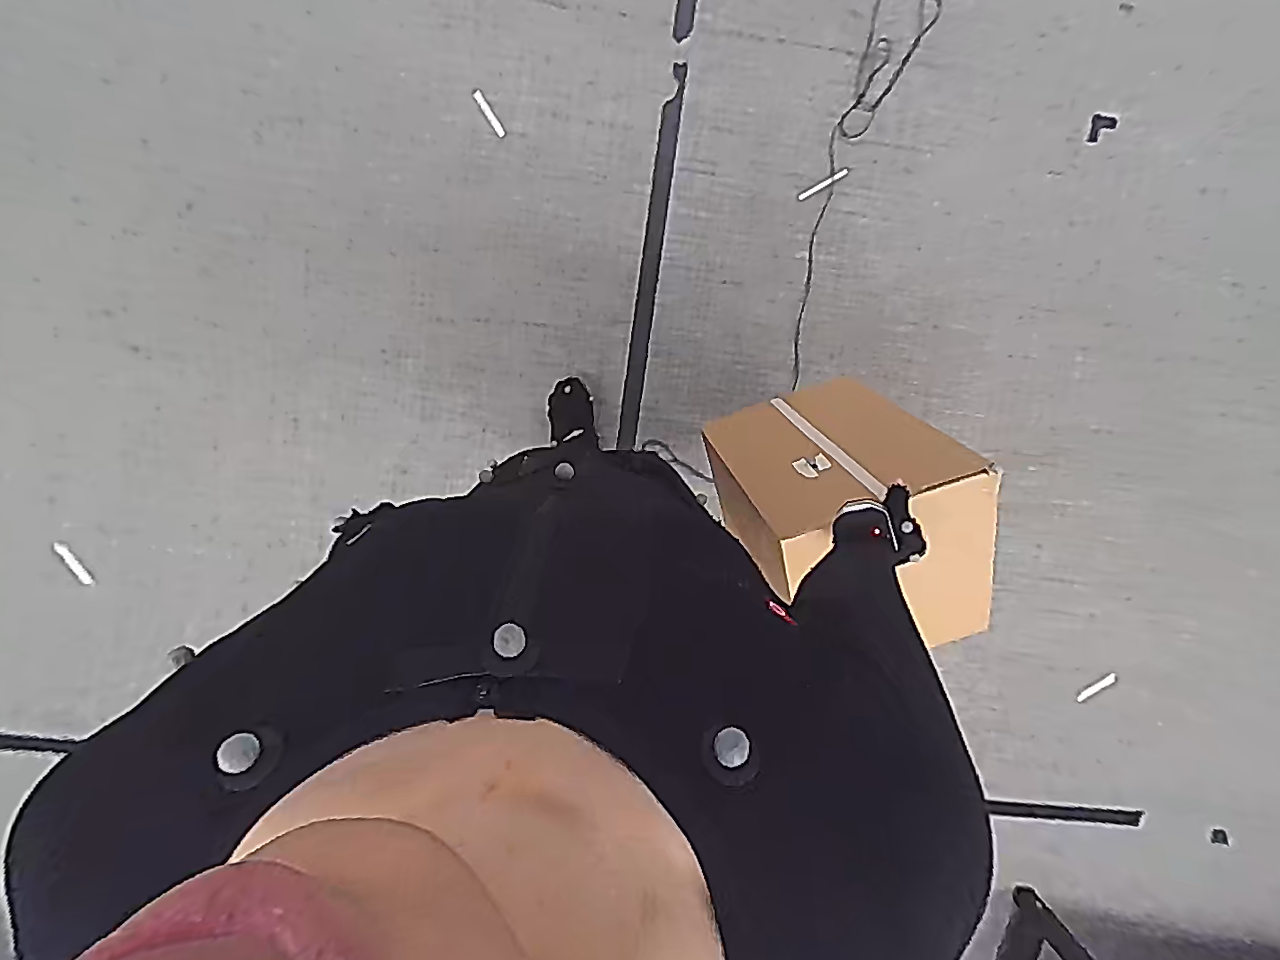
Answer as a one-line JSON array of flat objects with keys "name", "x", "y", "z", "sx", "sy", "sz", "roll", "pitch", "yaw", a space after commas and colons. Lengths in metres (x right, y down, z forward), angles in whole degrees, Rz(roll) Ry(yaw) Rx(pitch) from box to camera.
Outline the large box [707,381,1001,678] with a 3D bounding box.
[{"name": "large box", "x": 0.349, "y": 0.065, "z": 0.976, "sx": 0.320, "sy": 0.408, "sz": 0.320, "roll": -19, "pitch": 121, "yaw": -1}]
